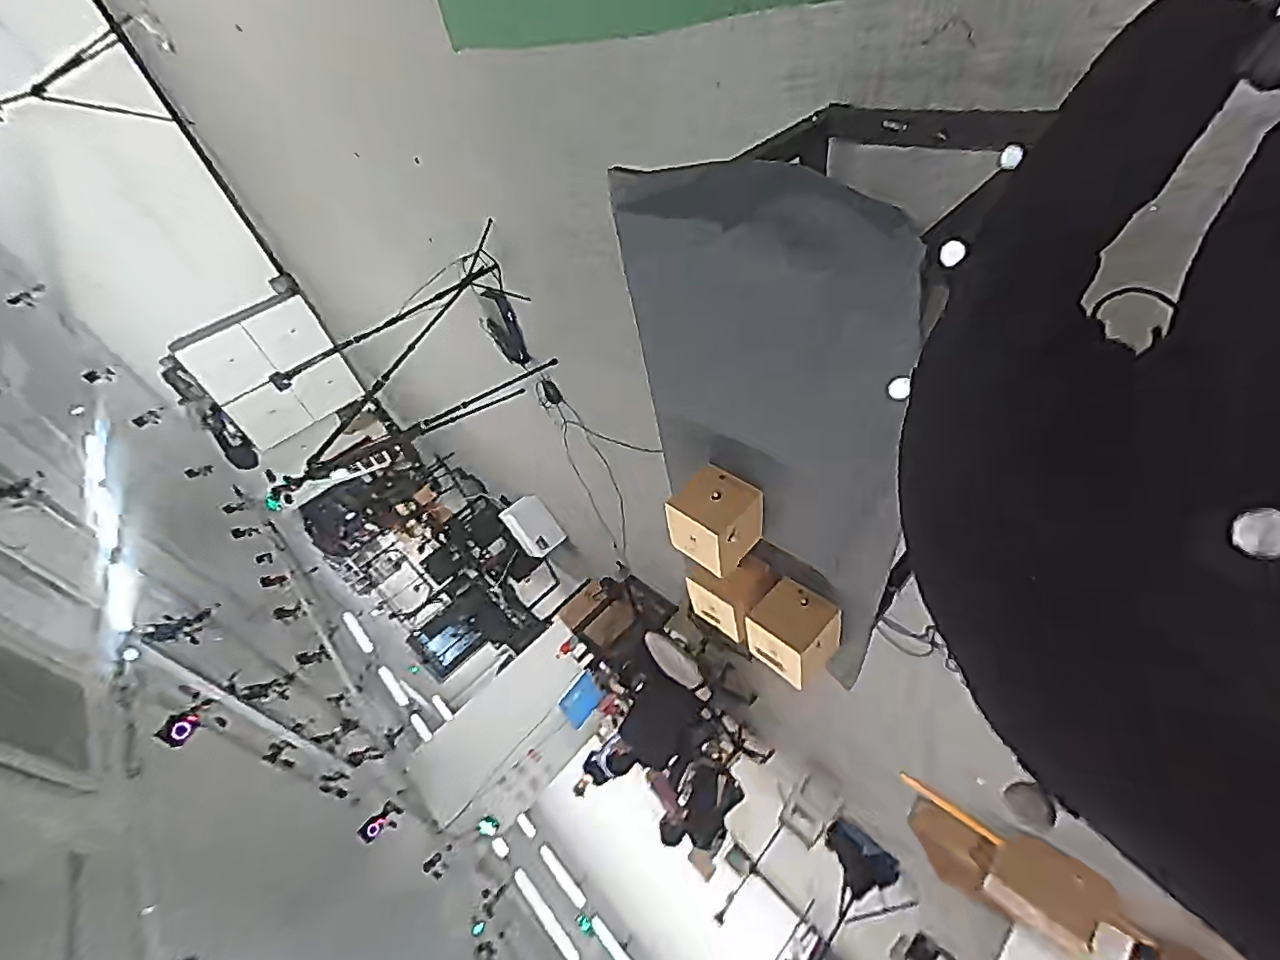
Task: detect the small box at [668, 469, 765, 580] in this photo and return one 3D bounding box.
[{"bbox_3d":[0.192,0.103,1.329,0.168,0.176,0.179,33,150,35],"label":"small box"}]
